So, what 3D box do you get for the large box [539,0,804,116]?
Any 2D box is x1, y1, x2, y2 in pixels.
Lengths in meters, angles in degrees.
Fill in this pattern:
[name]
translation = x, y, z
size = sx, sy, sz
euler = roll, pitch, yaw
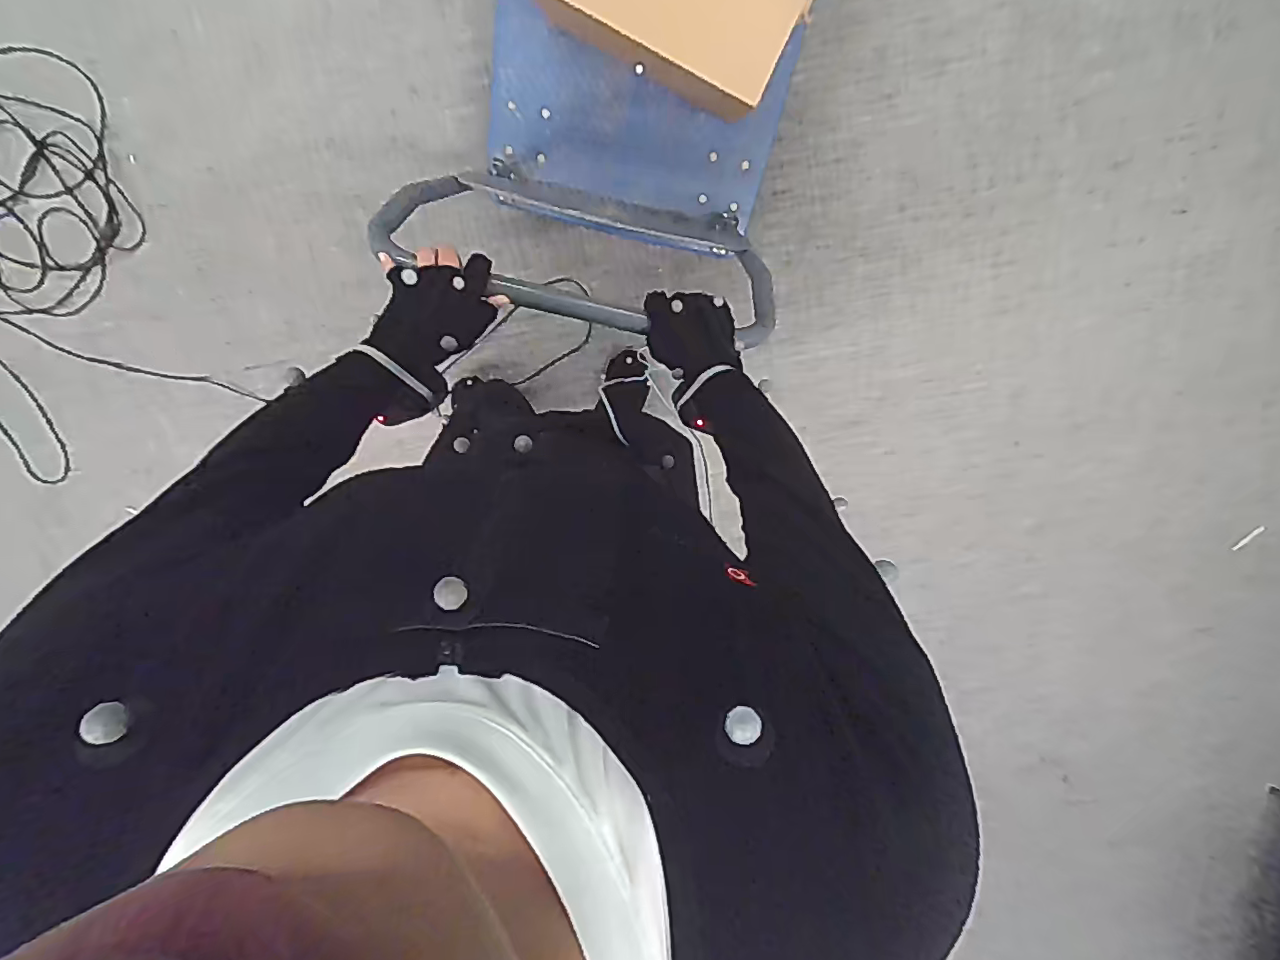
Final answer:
[large box]
translation = 0.069, -0.843, 0.859
size = 0.408, 0.320, 0.320
euler = 23, 118, -10
